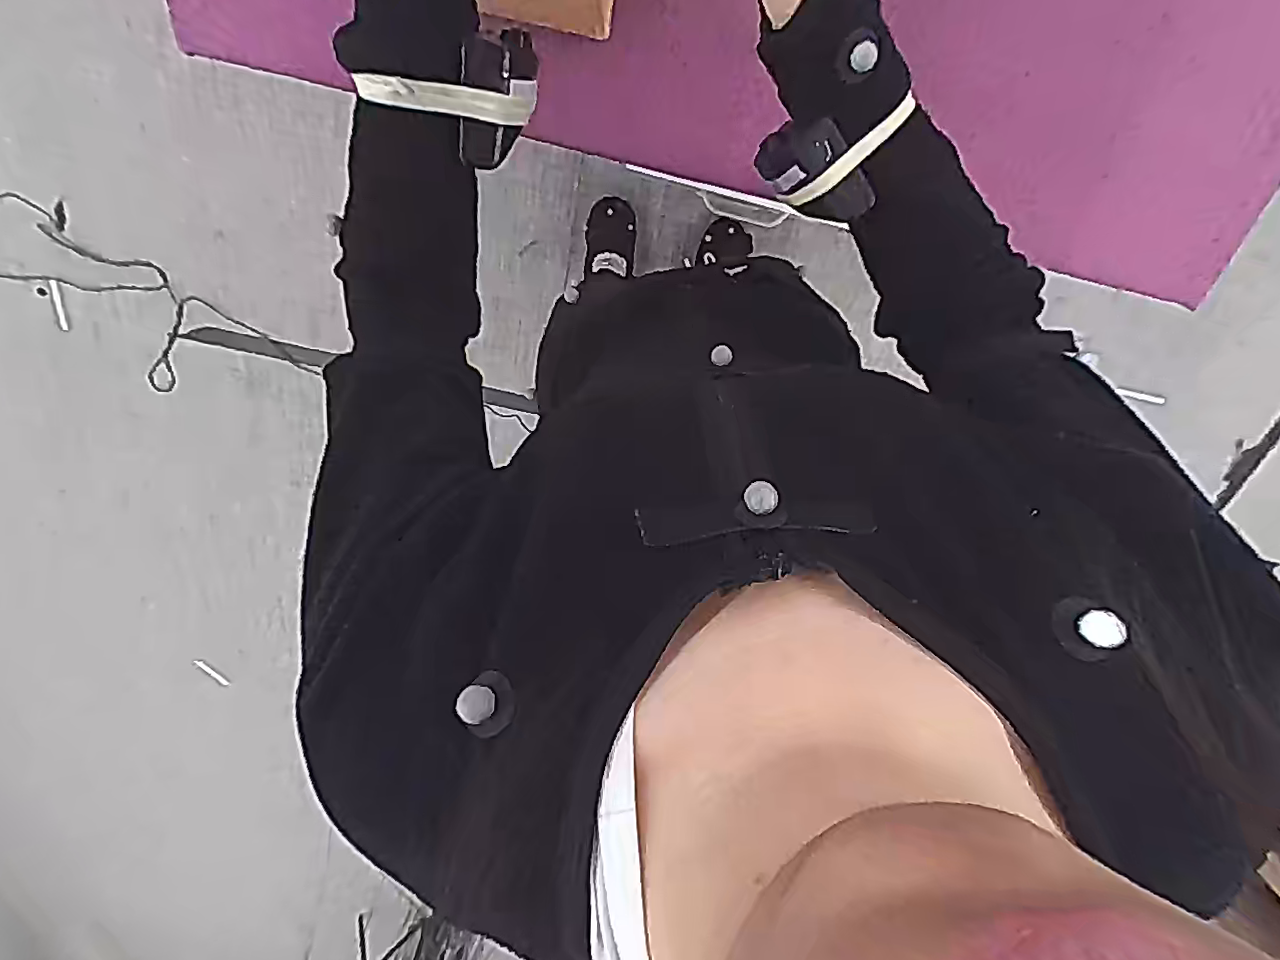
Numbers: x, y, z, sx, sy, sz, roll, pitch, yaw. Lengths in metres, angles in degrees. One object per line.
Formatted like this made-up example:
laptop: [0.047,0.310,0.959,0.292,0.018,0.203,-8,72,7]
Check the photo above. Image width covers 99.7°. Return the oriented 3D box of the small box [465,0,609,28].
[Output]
small box: [-0.101,-0.506,0.442,0.179,0.176,0.168,10,116,-5]
